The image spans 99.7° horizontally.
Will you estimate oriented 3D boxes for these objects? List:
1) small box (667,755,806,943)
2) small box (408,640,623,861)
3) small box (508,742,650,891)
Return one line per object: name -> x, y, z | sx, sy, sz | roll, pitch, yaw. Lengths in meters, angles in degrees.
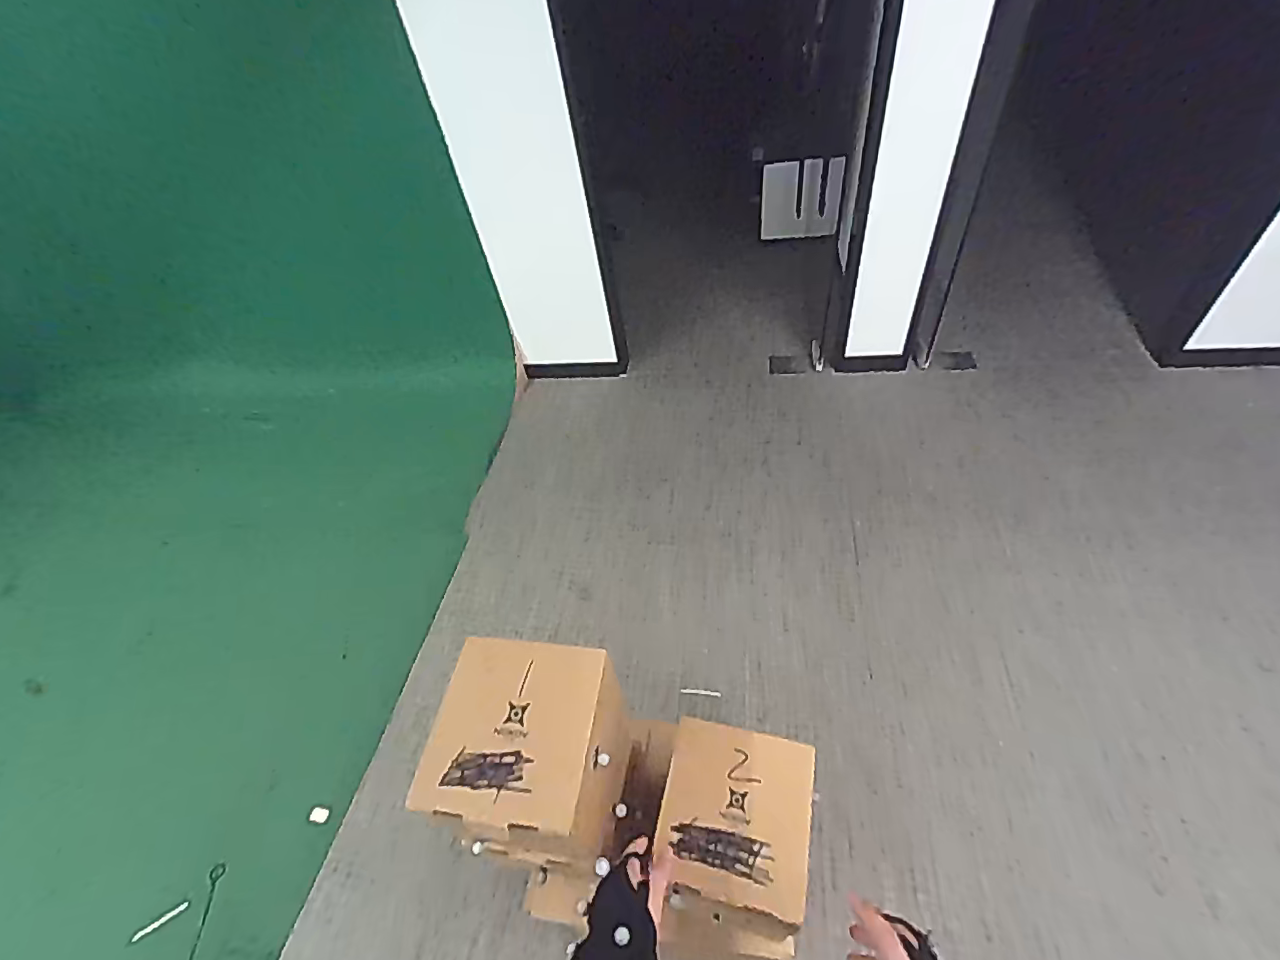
small box -> 0.144, 0.536, 0.787 | 0.168, 0.176, 0.179 | 6, 49, 17
small box -> -0.118, 0.302, 0.603 | 0.168, 0.176, 0.179 | 2, 47, 10
small box -> -0.081, 0.519, 0.847 | 0.168, 0.176, 0.179 | 4, 49, 11
